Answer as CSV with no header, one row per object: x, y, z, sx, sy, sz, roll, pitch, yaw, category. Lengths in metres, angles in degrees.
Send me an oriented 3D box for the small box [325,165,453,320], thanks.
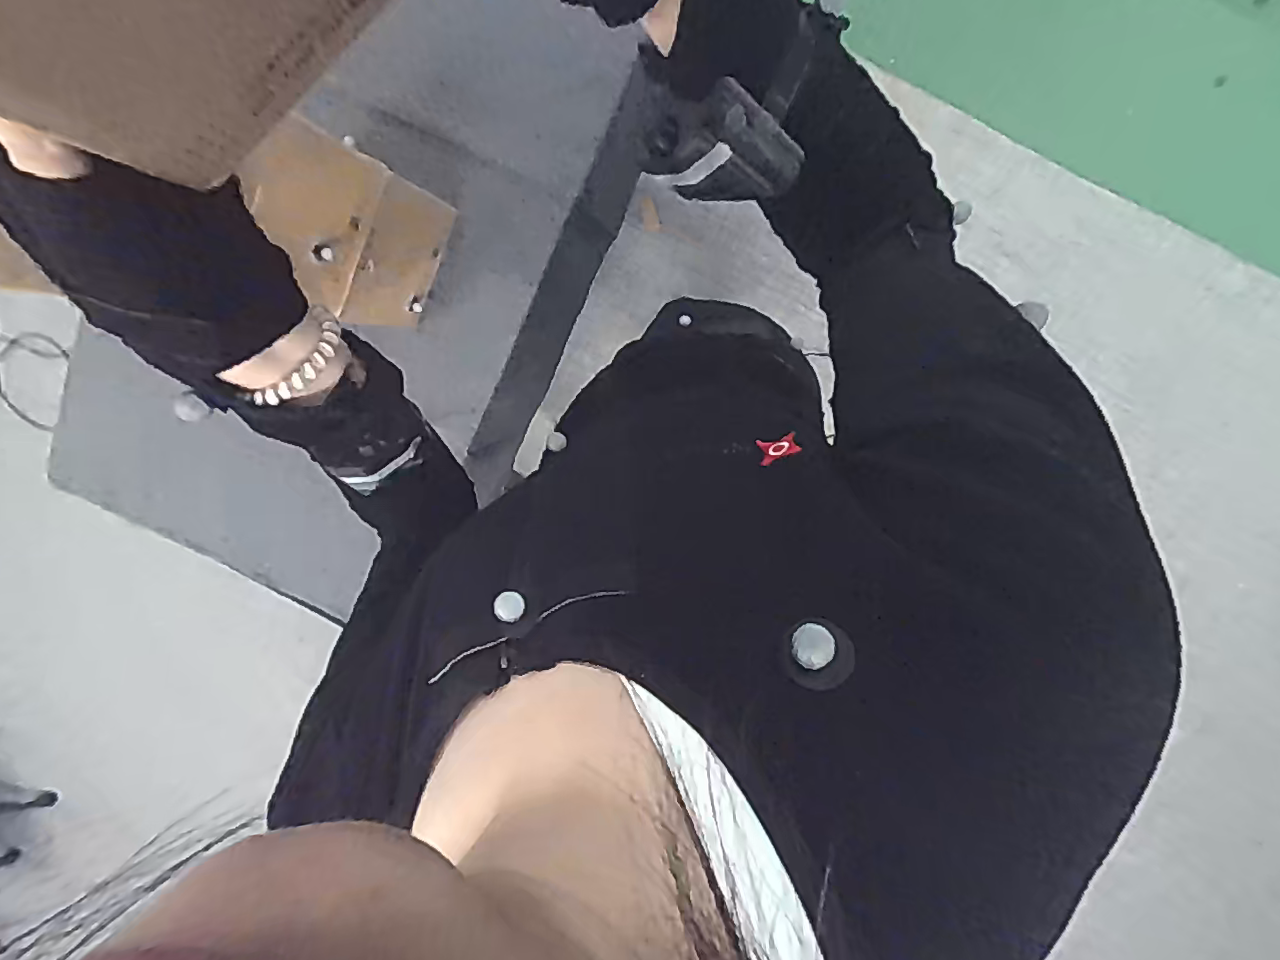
-0.357,-0.305,0.649,0.179,0.176,0.168,27,105,1,small box

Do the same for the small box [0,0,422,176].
-0.170,-0.217,0.130,0.168,0.176,0.179,-42,105,6,small box

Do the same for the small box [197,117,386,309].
-0.375,-0.269,0.492,0.179,0.176,0.168,27,105,0,small box

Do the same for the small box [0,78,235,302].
-0.392,-0.231,0.332,0.168,0.176,0.179,29,105,0,small box
